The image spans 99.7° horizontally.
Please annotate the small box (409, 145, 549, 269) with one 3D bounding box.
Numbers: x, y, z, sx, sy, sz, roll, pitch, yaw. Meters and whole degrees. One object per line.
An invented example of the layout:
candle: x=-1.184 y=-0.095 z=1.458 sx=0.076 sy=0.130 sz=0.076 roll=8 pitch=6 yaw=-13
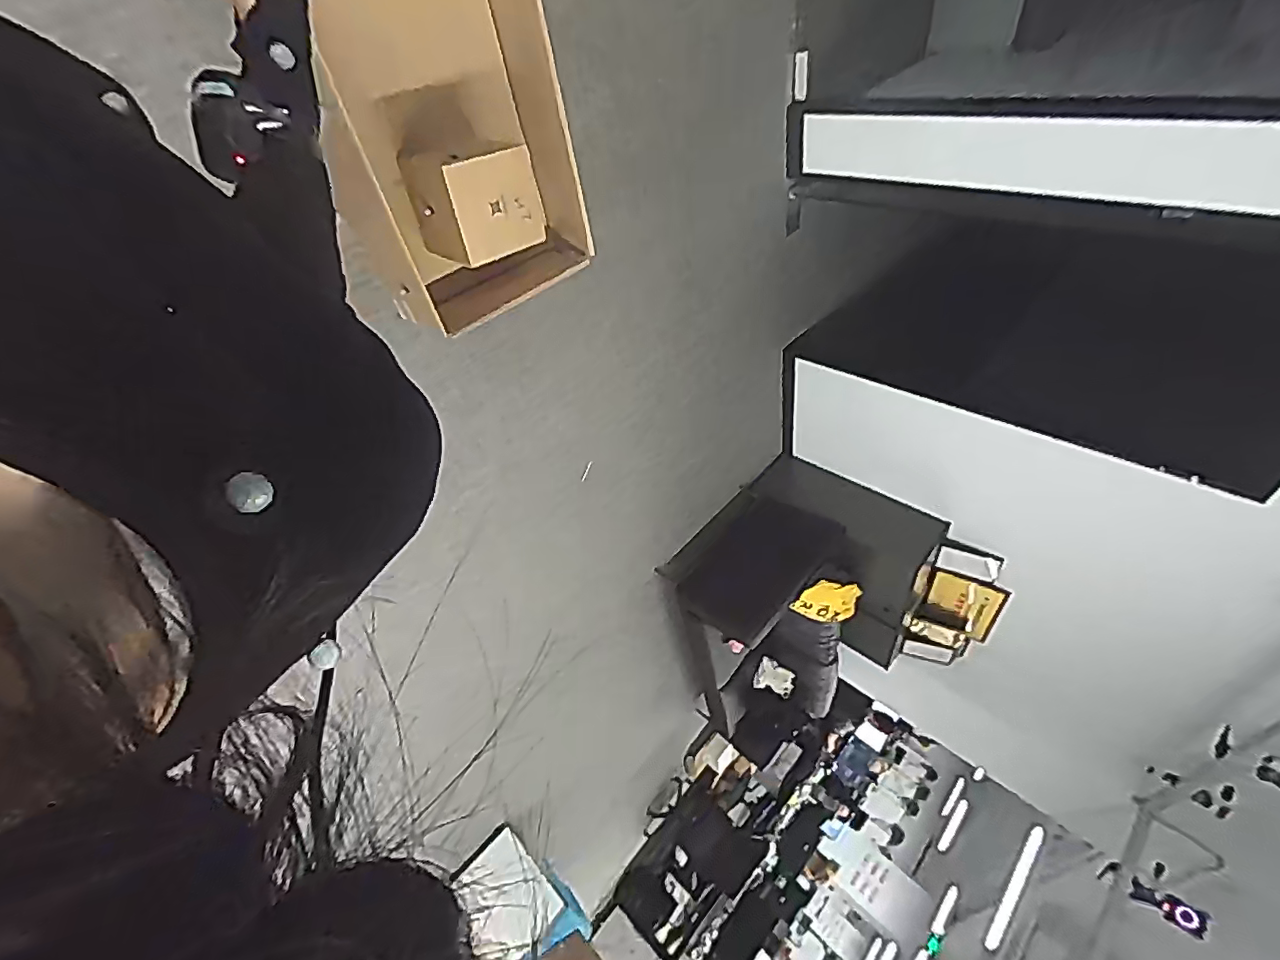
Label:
small box: x=-0.300 y=-0.510 z=1.002 sx=0.179 sy=0.176 sz=0.168 roll=-36 pitch=138 yaw=-30
